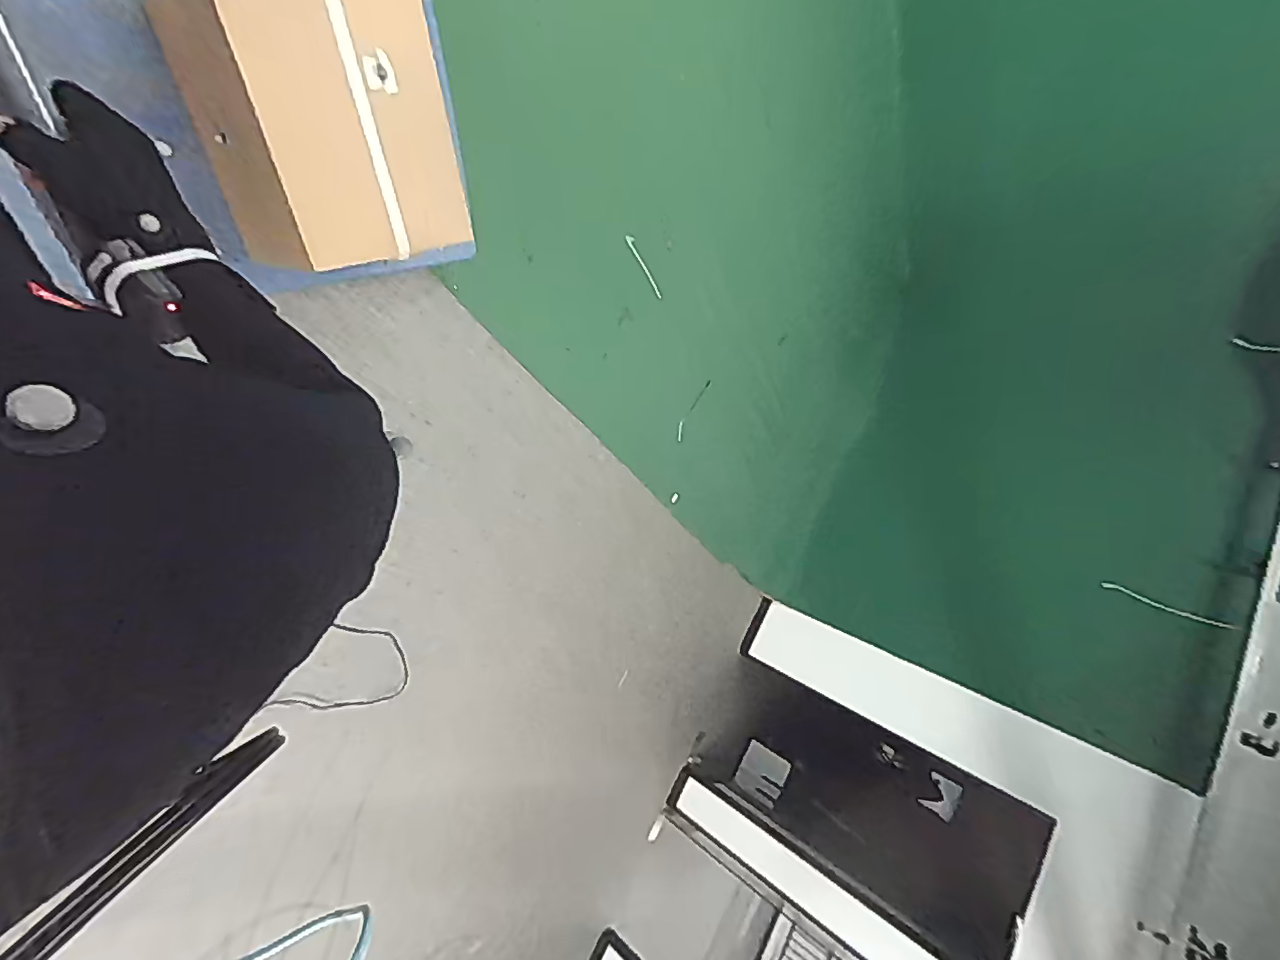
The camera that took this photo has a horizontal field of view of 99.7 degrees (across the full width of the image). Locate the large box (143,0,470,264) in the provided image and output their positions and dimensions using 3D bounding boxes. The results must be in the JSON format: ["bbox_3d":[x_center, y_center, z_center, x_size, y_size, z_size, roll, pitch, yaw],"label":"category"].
[{"bbox_3d":[-0.565,-0.629,0.960,0.320,0.320,0.408,-35,131,-39],"label":"large box"}]
